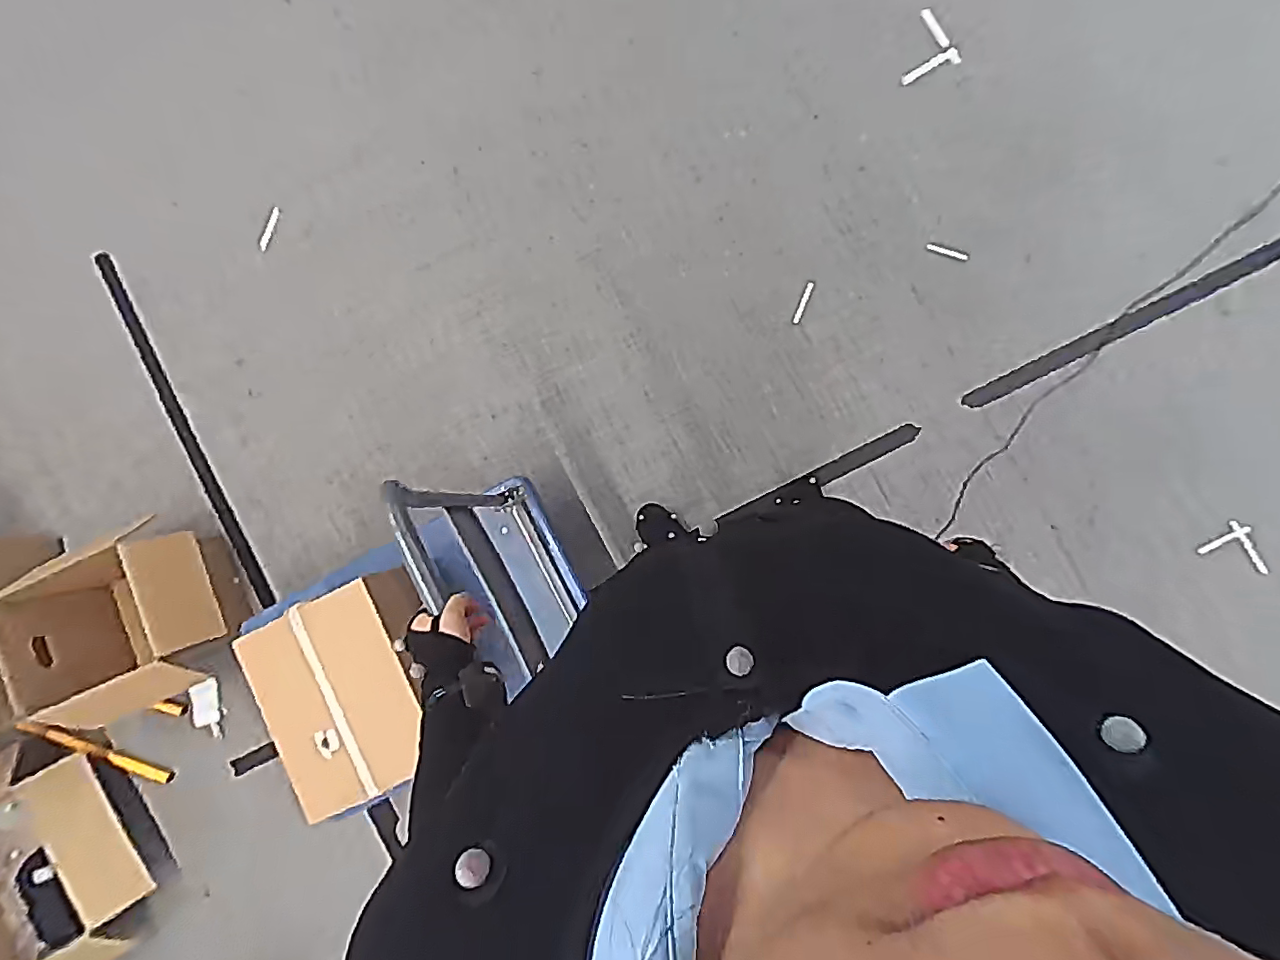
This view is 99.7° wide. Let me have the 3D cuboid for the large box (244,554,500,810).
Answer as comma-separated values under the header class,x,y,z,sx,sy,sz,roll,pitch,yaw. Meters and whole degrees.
class,x,y,z,sx,sy,sz,roll,pitch,yaw
large box,-0.583,0.428,1.242,0.320,0.320,0.408,-27,88,5
